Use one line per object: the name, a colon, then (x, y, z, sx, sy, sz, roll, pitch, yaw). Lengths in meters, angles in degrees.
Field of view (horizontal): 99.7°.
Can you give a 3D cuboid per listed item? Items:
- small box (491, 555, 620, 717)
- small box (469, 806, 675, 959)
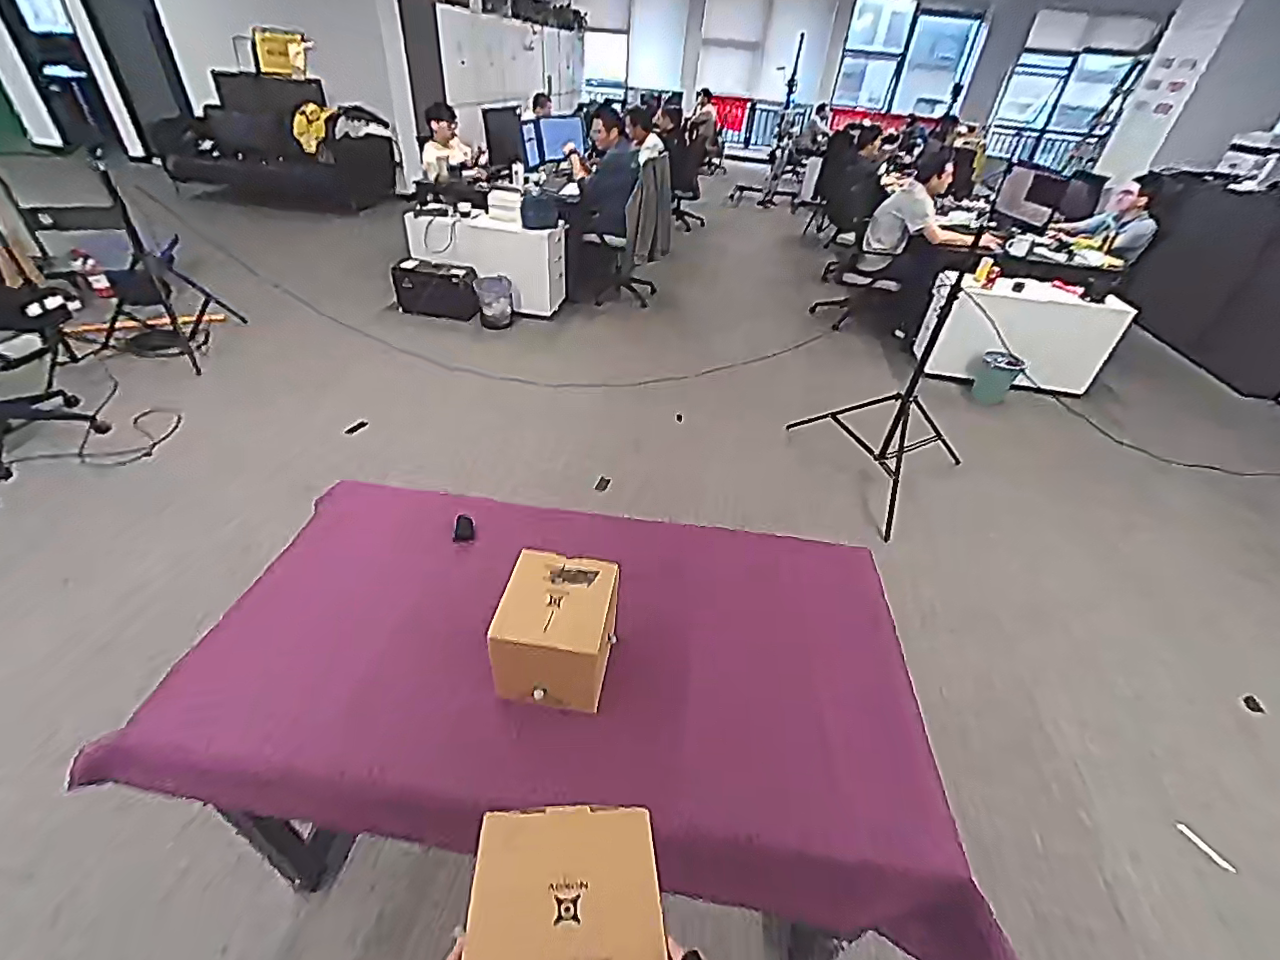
small box: (-0.131, 0.252, 0.882, 0.168, 0.176, 0.179, 8, 38, 4)
small box: (-0.066, 0.437, 0.494, 0.168, 0.176, 0.179, 3, 23, -8)
